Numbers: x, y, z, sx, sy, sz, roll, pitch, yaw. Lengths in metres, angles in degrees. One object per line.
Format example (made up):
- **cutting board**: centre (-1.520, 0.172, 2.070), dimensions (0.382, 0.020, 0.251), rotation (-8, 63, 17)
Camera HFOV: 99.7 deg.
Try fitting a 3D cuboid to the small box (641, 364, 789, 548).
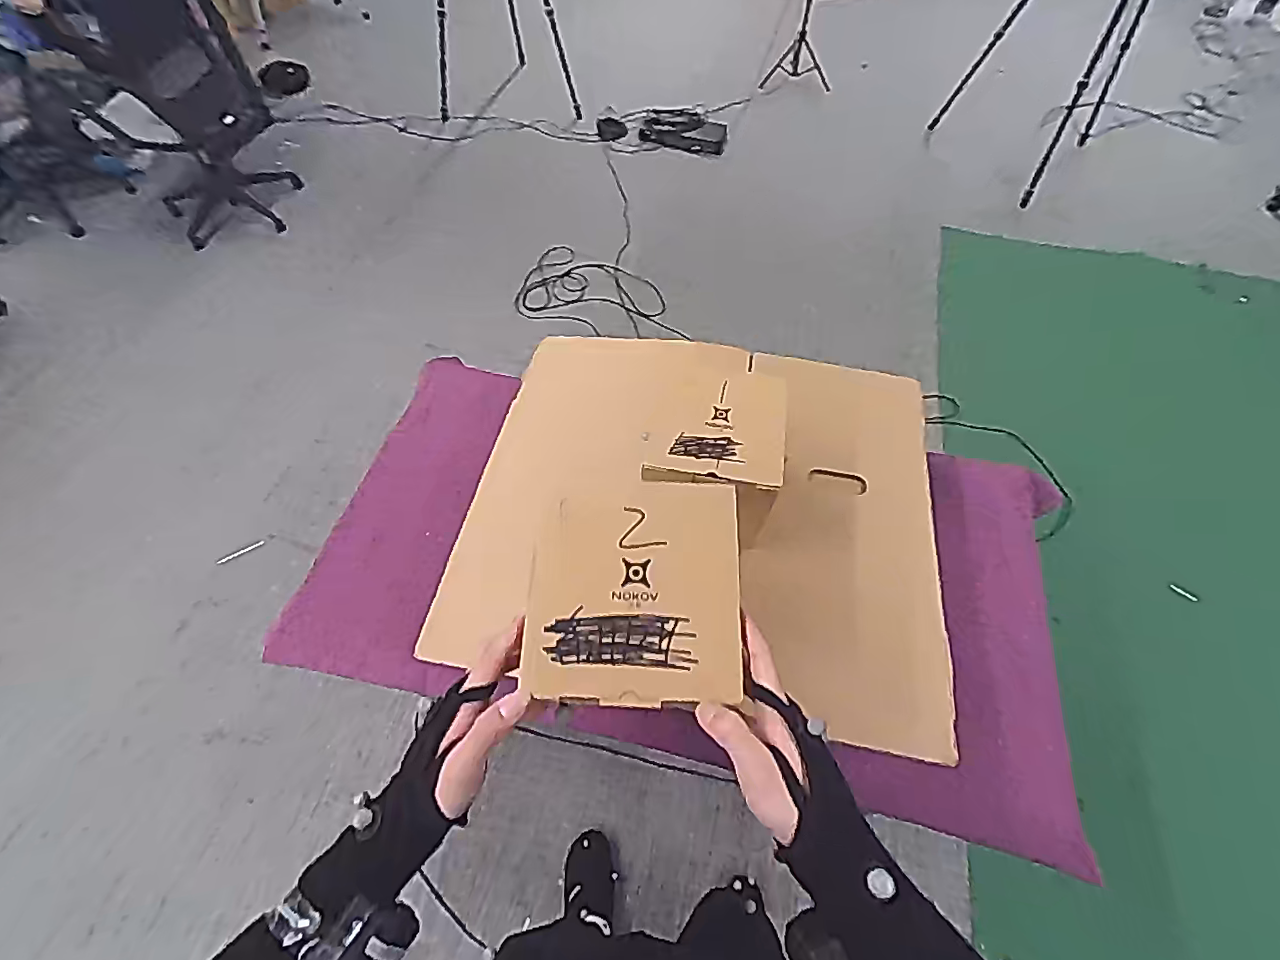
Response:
- **small box**: centre (0.096, -0.027, 0.732), dimensions (0.168, 0.176, 0.179), rotation (10, 58, 4)
